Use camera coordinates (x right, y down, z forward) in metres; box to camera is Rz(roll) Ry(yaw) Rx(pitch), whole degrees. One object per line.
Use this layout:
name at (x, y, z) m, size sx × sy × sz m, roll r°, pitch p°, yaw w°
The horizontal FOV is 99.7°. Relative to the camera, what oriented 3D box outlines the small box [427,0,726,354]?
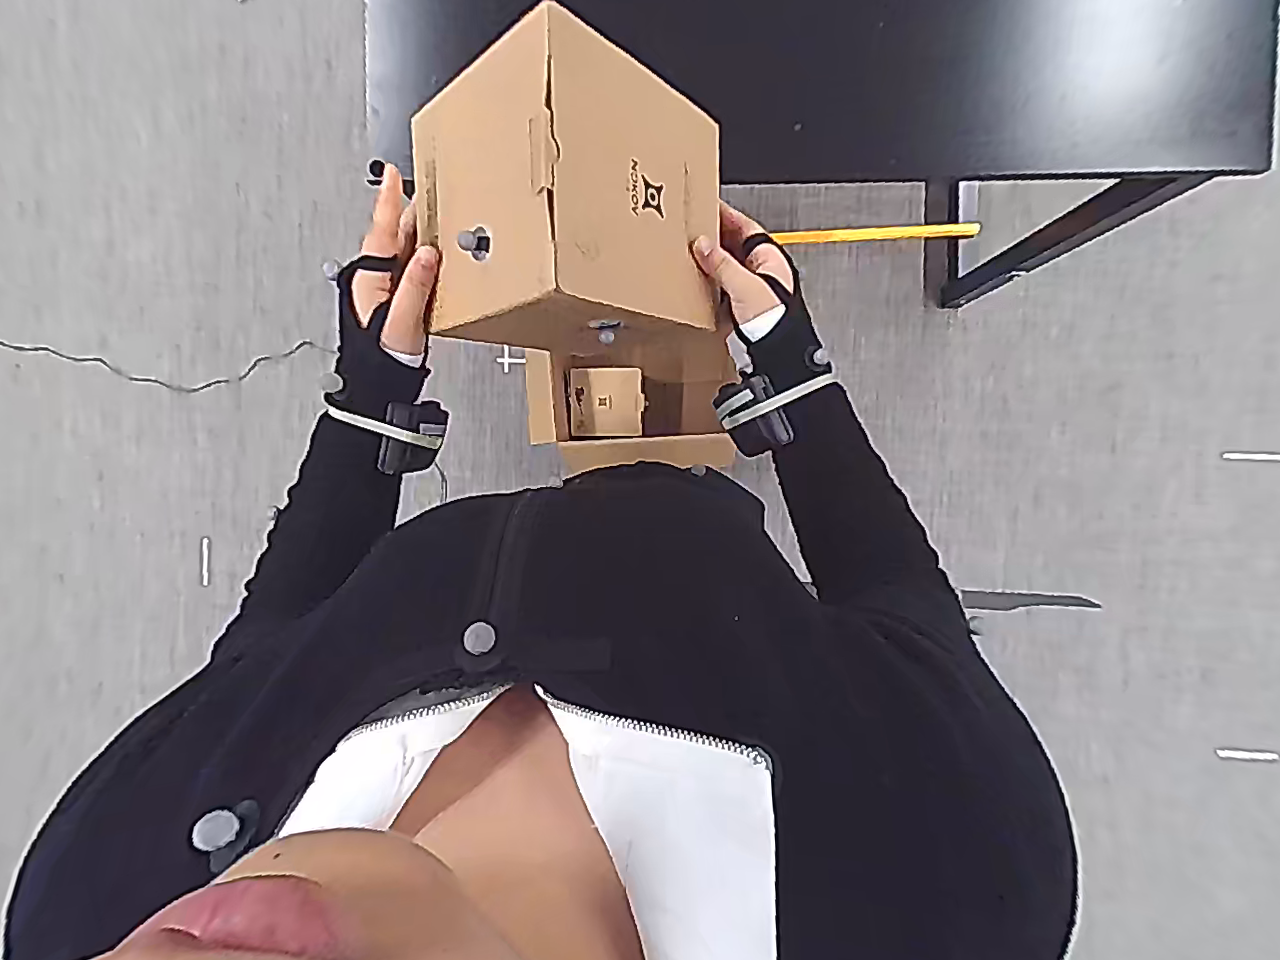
small box at (-0.051, -0.197, 0.421) m, size 0.176 × 0.179 × 0.168 m, roll 3°, pitch 95°, yaw 42°
